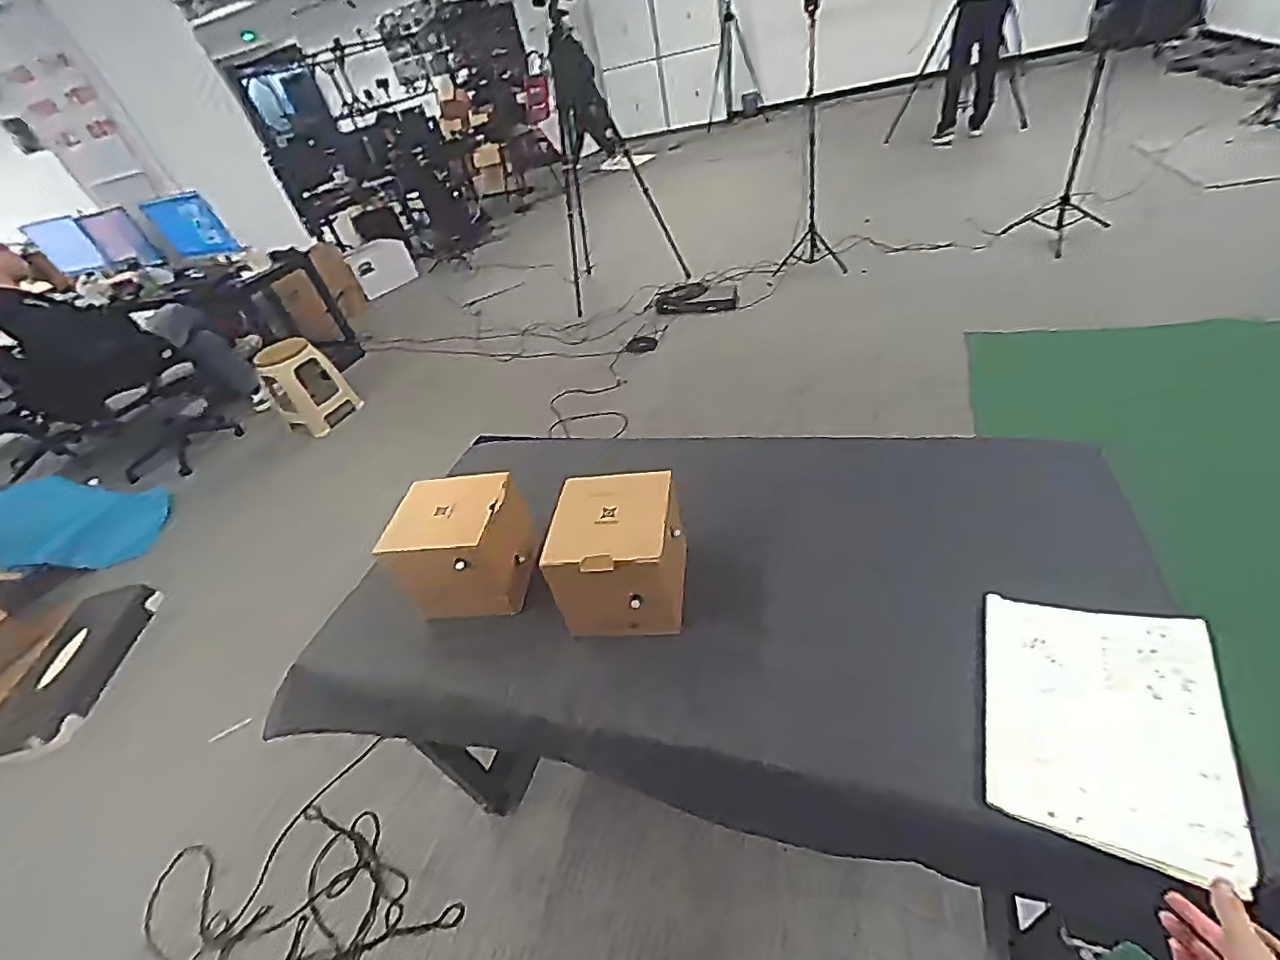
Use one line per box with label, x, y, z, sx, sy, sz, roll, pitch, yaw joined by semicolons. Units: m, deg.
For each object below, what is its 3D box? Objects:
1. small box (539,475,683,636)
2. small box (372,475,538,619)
small box;-0.030;0.115;0.803;0.168;0.176;0.179;-4;39;12
small box;-0.289;0.114;0.888;0.179;0.176;0.168;-5;39;10
